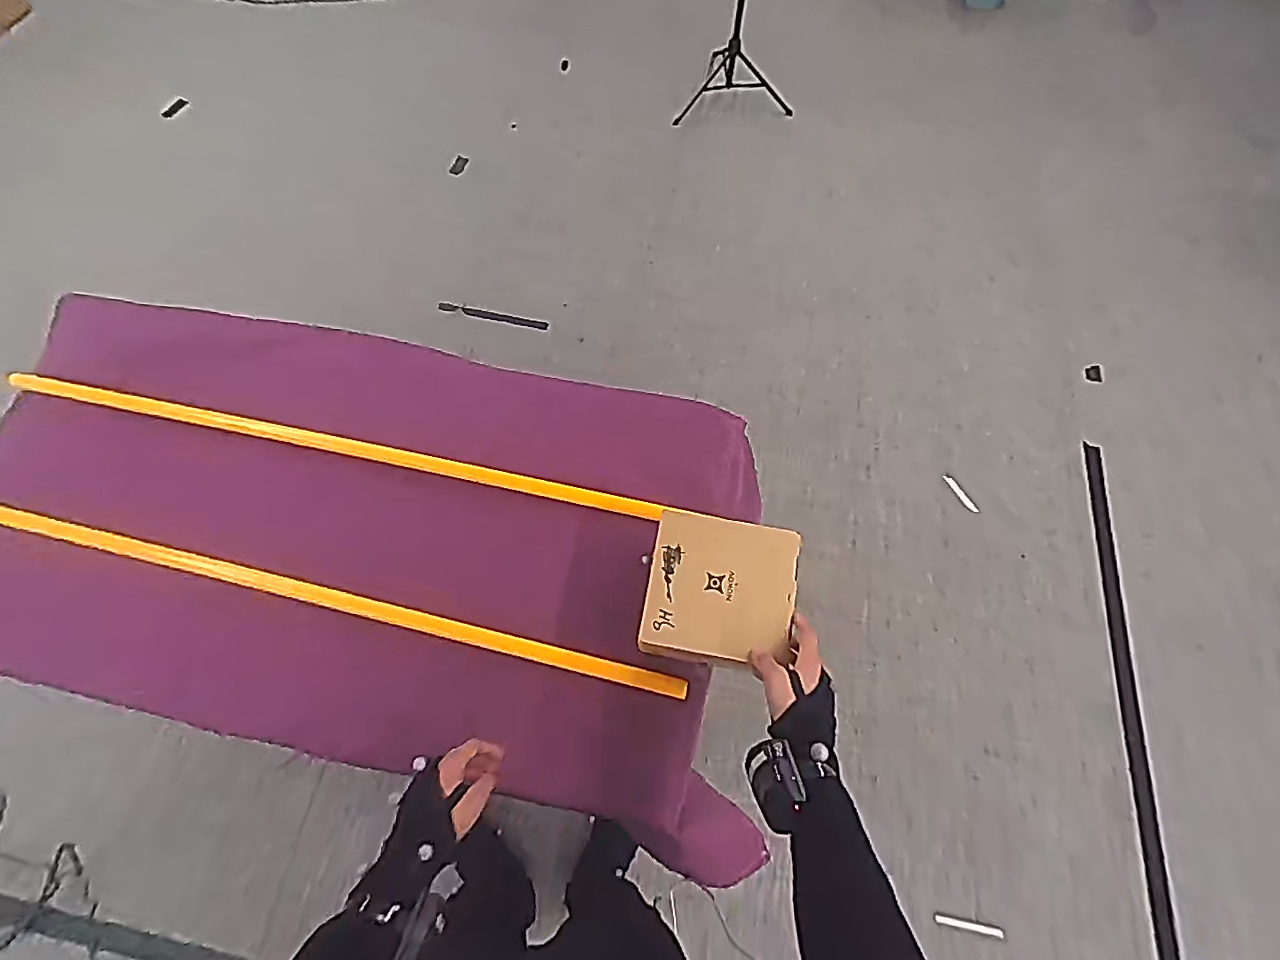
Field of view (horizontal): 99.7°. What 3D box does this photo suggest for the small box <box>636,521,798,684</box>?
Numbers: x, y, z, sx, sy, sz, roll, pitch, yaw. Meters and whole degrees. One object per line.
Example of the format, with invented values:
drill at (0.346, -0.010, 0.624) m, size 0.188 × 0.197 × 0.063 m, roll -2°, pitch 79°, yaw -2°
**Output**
small box at (0.096, 0.170, 0.727) m, size 0.179 × 0.176 × 0.168 m, roll 11°, pitch 69°, yaw 5°
